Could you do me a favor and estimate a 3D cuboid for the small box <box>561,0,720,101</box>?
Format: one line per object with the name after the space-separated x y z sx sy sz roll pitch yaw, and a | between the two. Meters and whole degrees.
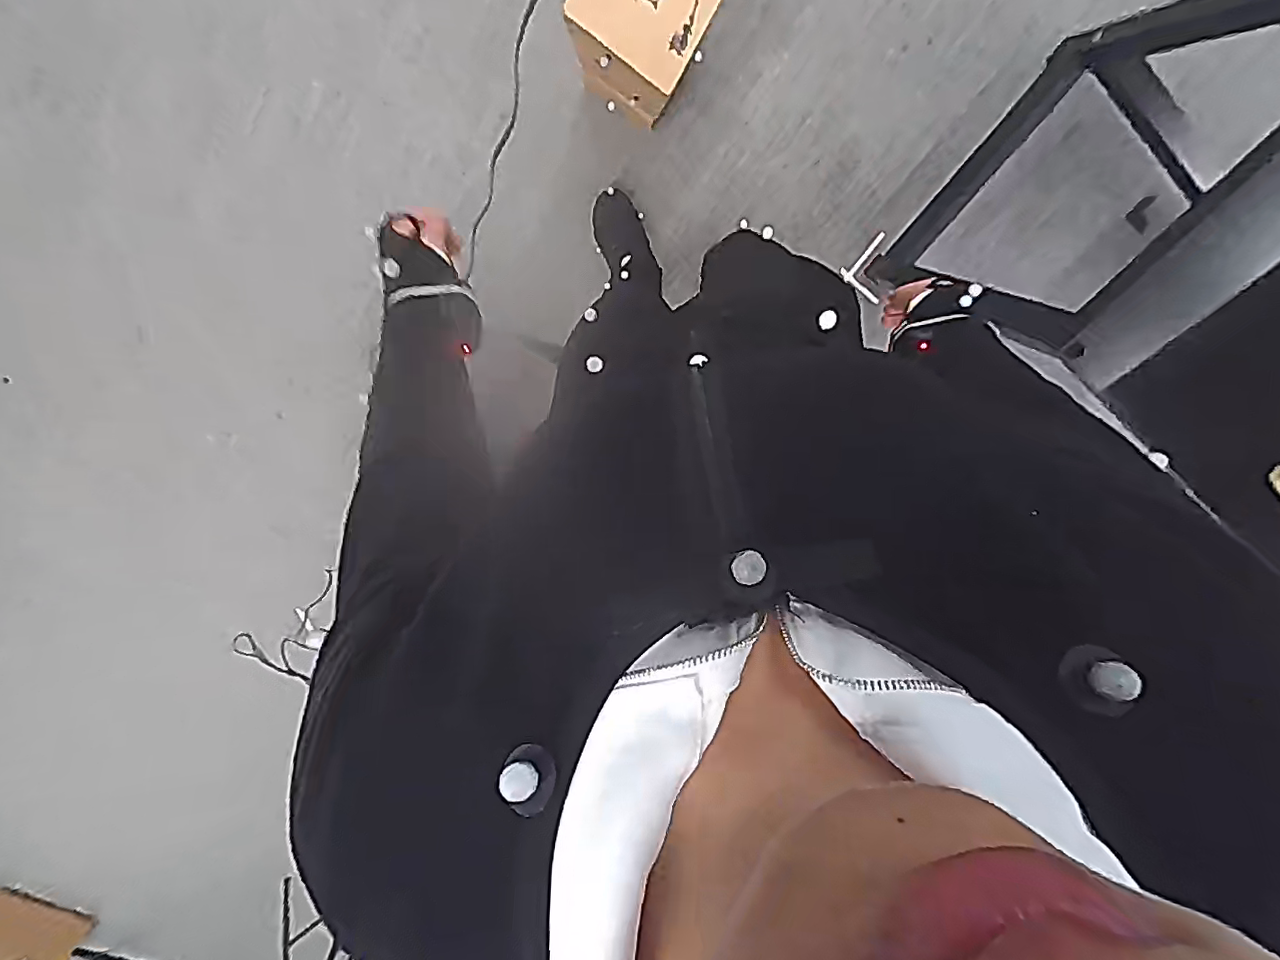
0.006 -0.686 0.780 0.179 0.176 0.168 29 114 -16 | small box

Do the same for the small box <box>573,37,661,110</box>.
0.000 -0.770 0.922 0.168 0.176 0.179 24 114 -16 | small box

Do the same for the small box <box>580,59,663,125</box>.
-0.004 -0.841 1.067 0.168 0.176 0.179 29 115 -16 | small box
